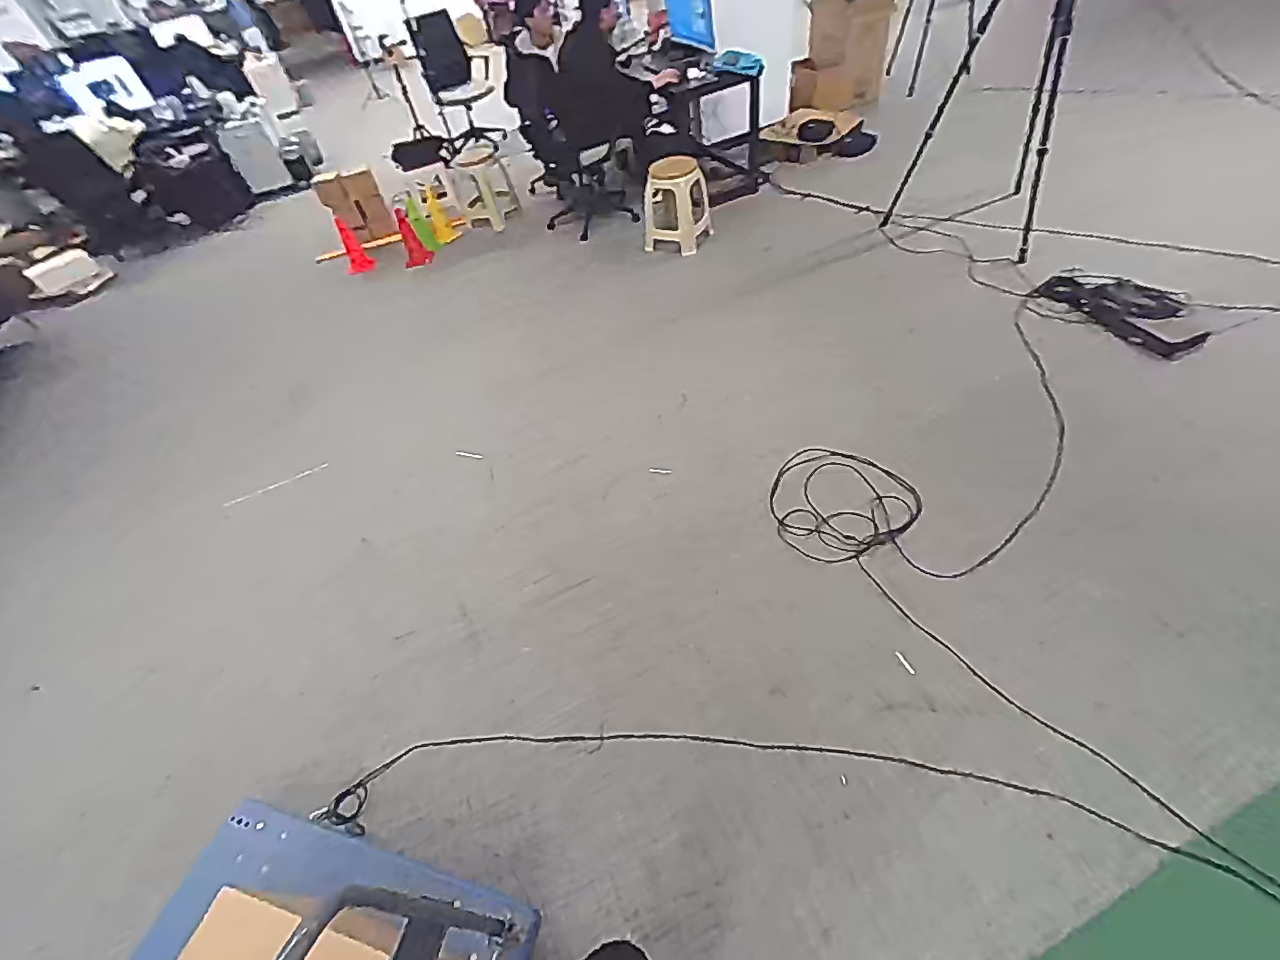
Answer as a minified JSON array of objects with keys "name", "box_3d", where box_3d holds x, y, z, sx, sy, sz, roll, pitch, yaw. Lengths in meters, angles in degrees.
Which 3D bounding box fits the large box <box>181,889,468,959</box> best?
[{"name":"large box","box_3d":[-0.597,0.988,0.970,0.408,0.320,0.320,6,50,17]}]
